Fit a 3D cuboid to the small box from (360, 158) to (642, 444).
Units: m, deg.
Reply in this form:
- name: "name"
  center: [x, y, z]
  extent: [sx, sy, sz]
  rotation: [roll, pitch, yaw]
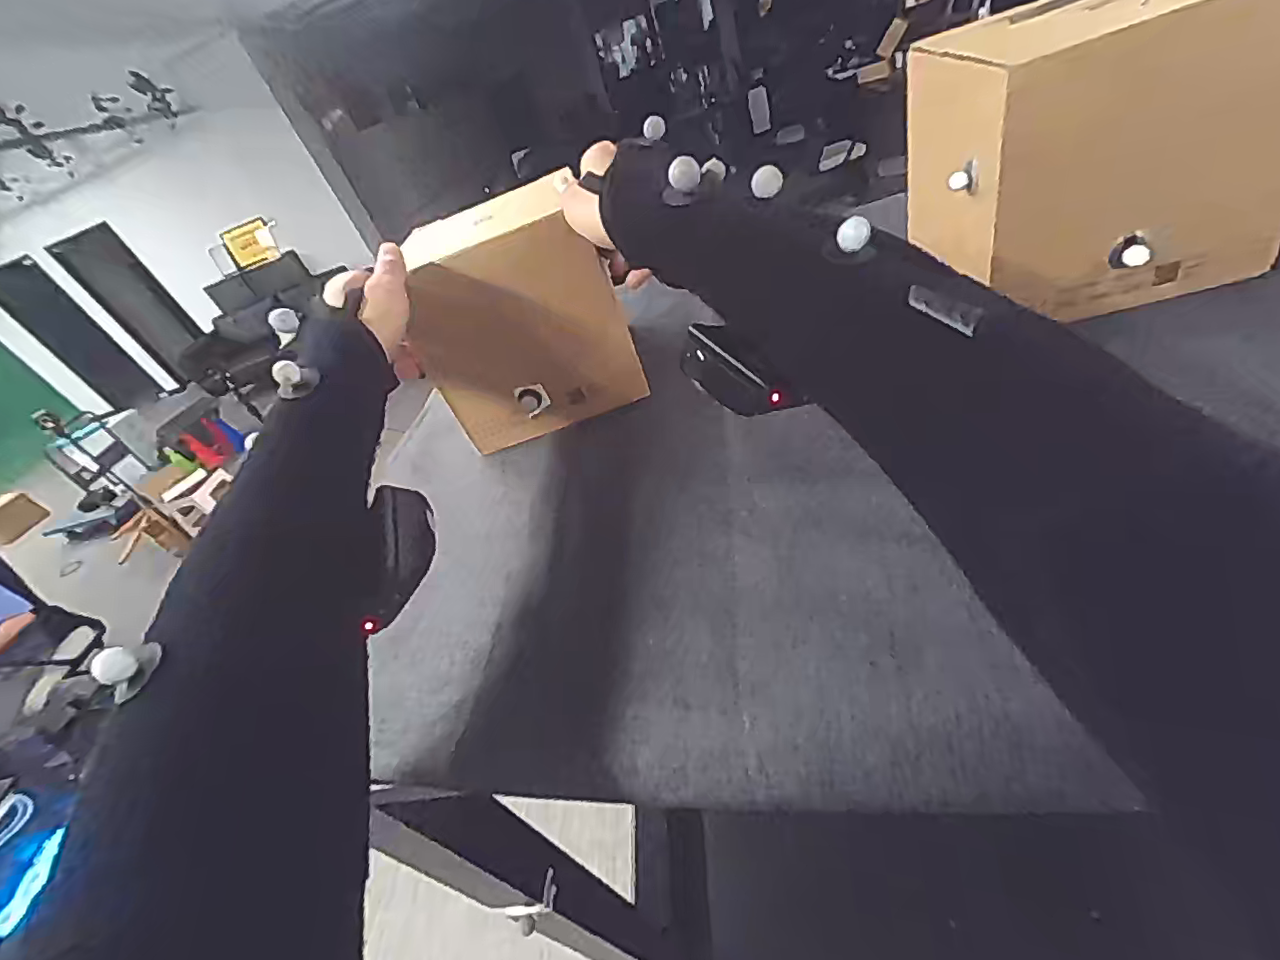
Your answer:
- name: "small box"
  center: [-0.108, -0.162, 0.488]
  extent: [0.168, 0.176, 0.179]
  rotation: [-20, 38, 5]
